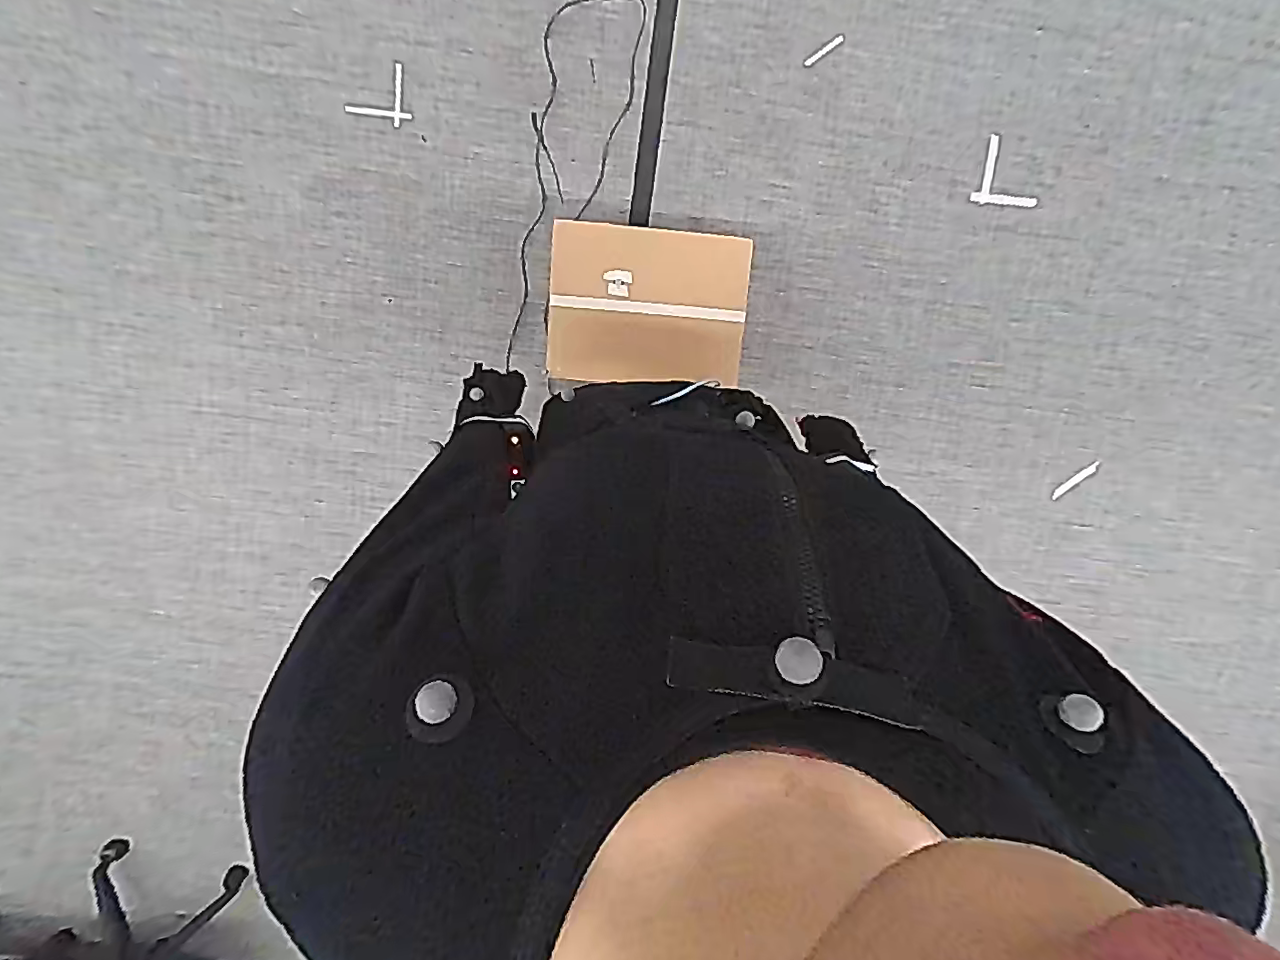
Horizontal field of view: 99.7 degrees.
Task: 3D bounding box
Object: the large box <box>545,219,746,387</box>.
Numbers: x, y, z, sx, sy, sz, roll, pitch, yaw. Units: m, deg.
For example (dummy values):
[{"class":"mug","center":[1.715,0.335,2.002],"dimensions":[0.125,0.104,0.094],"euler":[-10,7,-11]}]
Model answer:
[{"class":"large box","center":[0.006,-0.391,1.261],"dimensions":[0.408,0.320,0.320],"euler":[4,100,-3]}]
